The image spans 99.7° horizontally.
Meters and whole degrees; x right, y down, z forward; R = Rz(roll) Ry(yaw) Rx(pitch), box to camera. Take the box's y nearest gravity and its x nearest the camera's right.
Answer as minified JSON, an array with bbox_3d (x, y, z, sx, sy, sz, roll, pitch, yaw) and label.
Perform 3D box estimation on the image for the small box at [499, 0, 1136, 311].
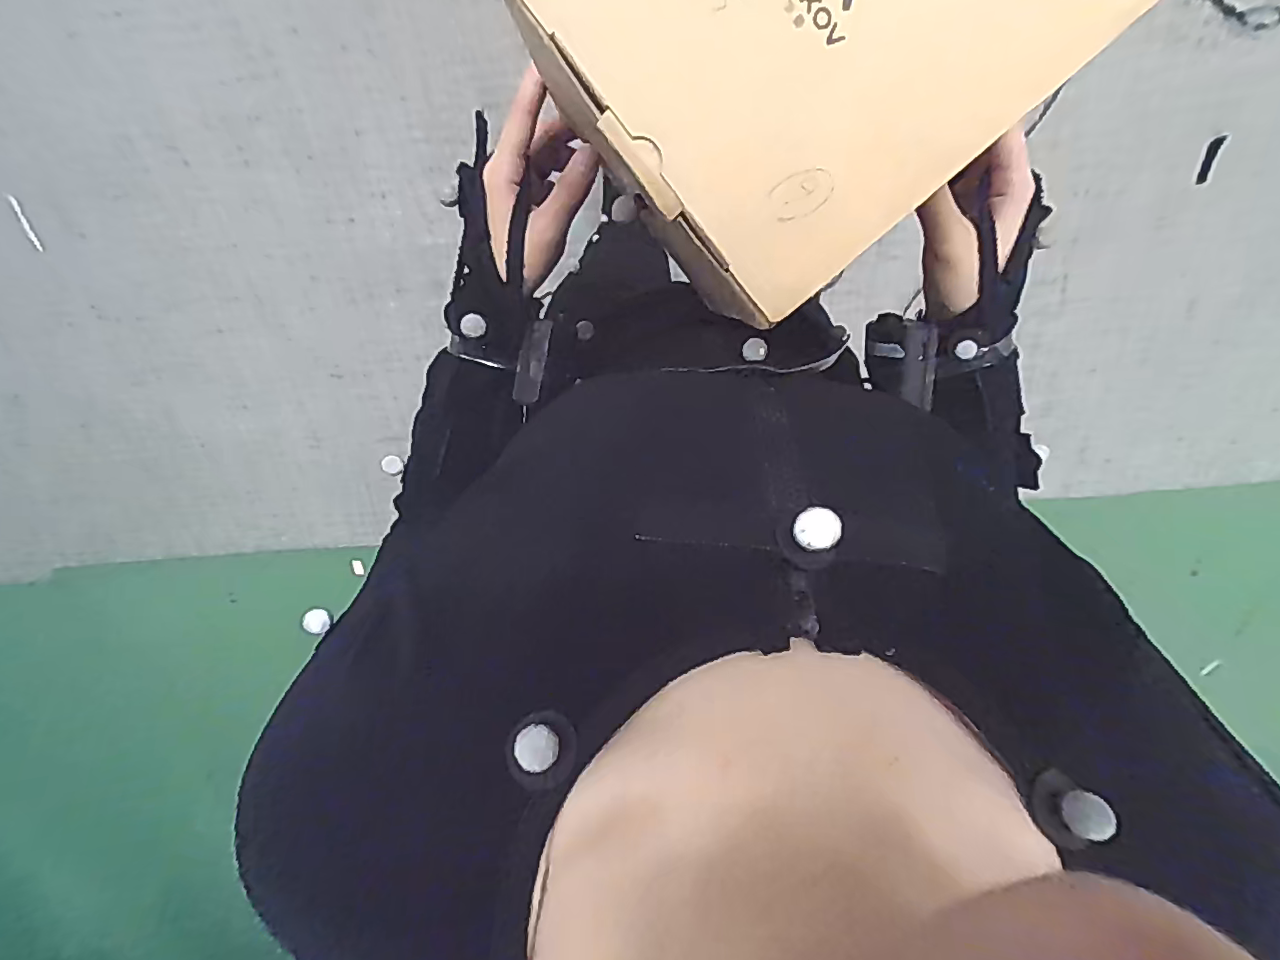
[{"bbox_3d":[0.062,-0.205,0.262,0.179,0.176,0.168,-39,105,13],"label":"small box"}]
